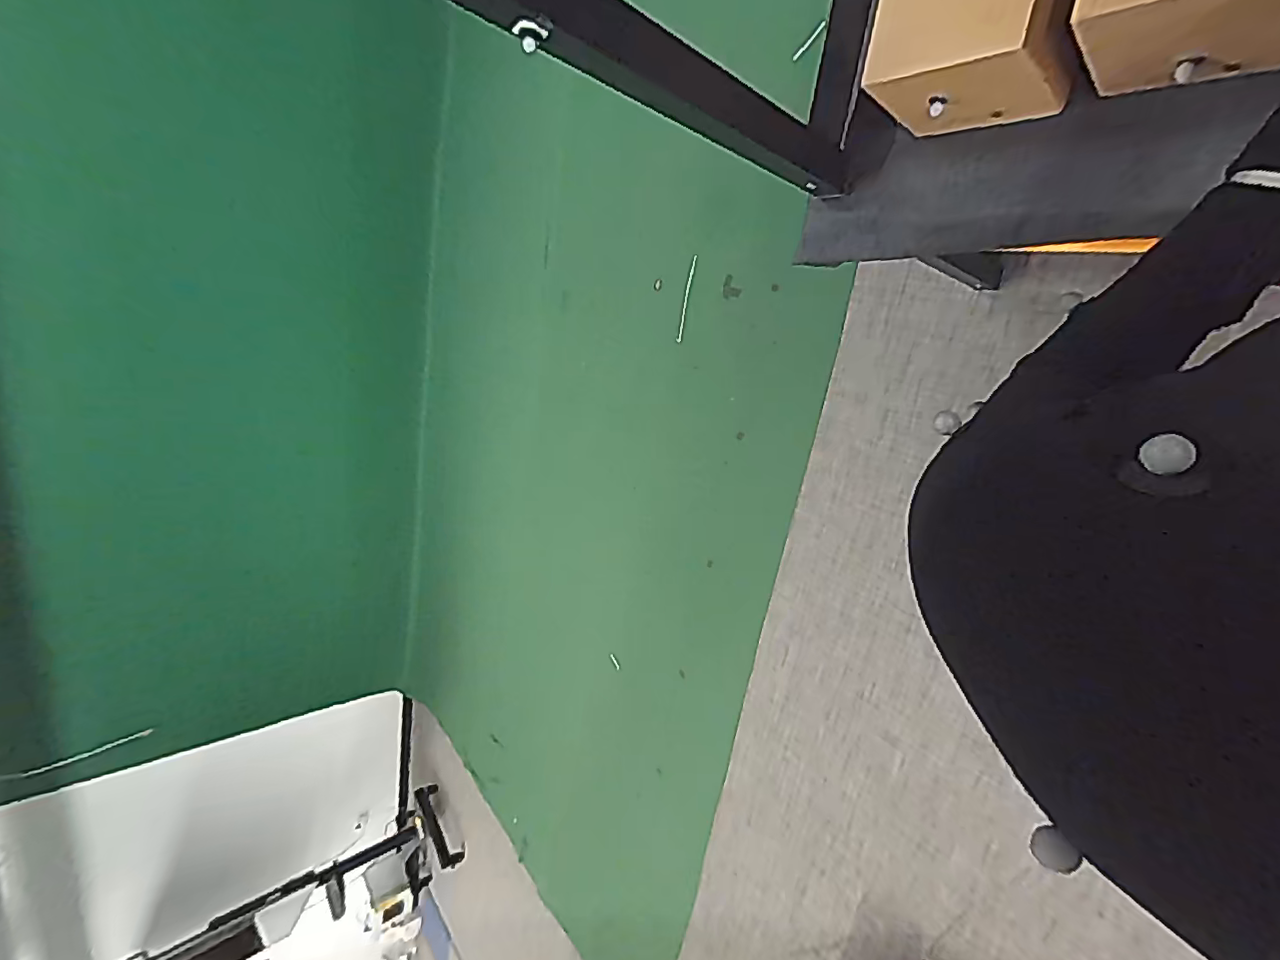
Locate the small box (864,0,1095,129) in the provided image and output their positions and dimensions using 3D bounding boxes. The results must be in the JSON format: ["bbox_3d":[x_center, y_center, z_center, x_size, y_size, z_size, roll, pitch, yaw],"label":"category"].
[{"bbox_3d":[0.382,-0.518,0.599,0.168,0.176,0.179,23,110,44],"label":"small box"}]
